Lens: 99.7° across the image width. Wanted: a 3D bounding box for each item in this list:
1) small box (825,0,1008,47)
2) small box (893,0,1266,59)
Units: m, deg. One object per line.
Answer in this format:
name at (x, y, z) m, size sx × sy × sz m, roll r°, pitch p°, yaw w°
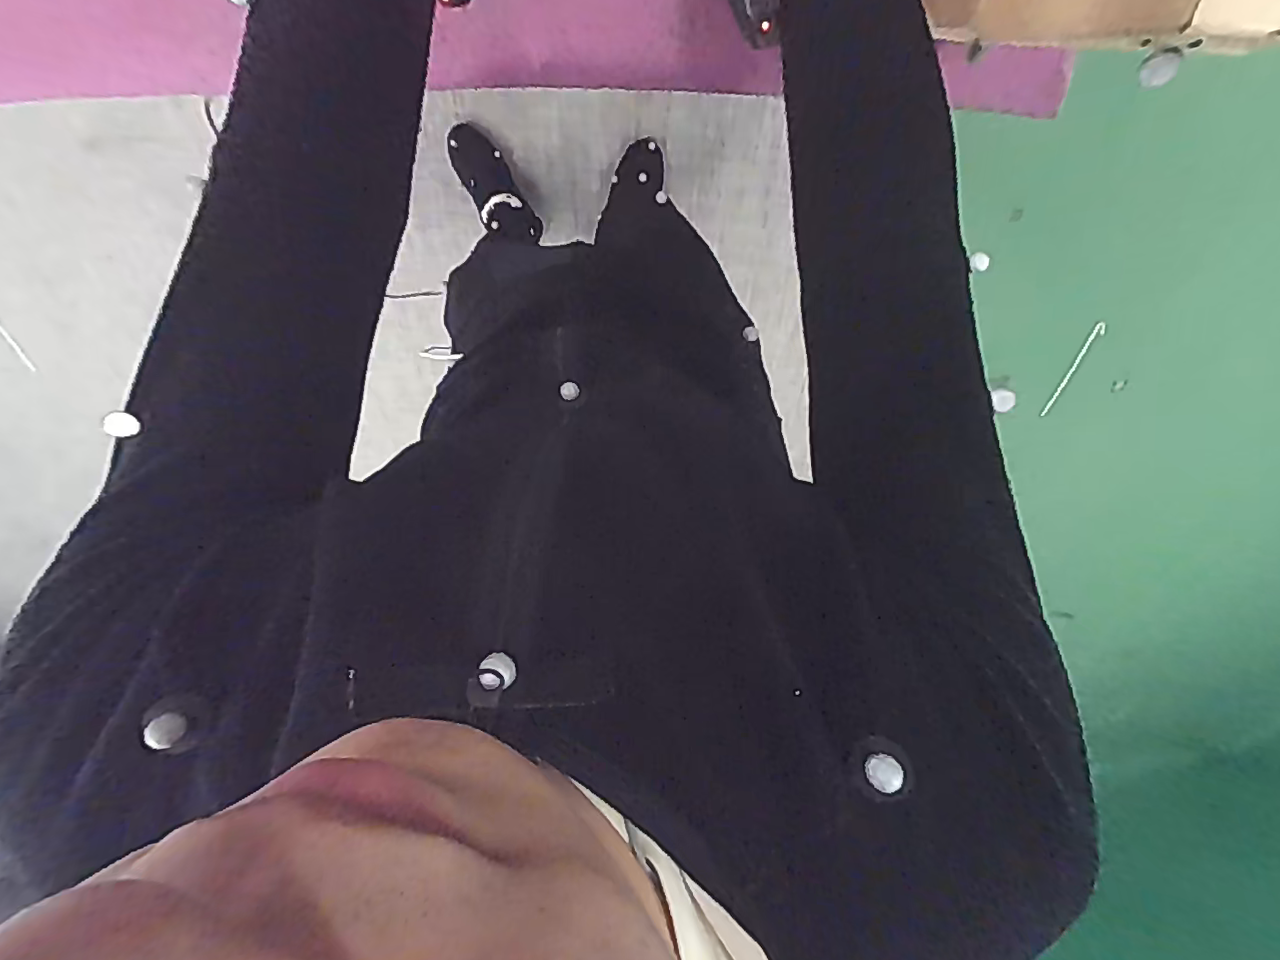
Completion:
small box at (0.282, -0.480, 0.457) m, size 0.179 × 0.176 × 0.168 m, roll 4°, pitch 129°, yaw -3°
small box at (0.283, -0.378, 0.329) m, size 0.168 × 0.176 × 0.179 m, roll 5°, pitch 130°, yaw -2°
